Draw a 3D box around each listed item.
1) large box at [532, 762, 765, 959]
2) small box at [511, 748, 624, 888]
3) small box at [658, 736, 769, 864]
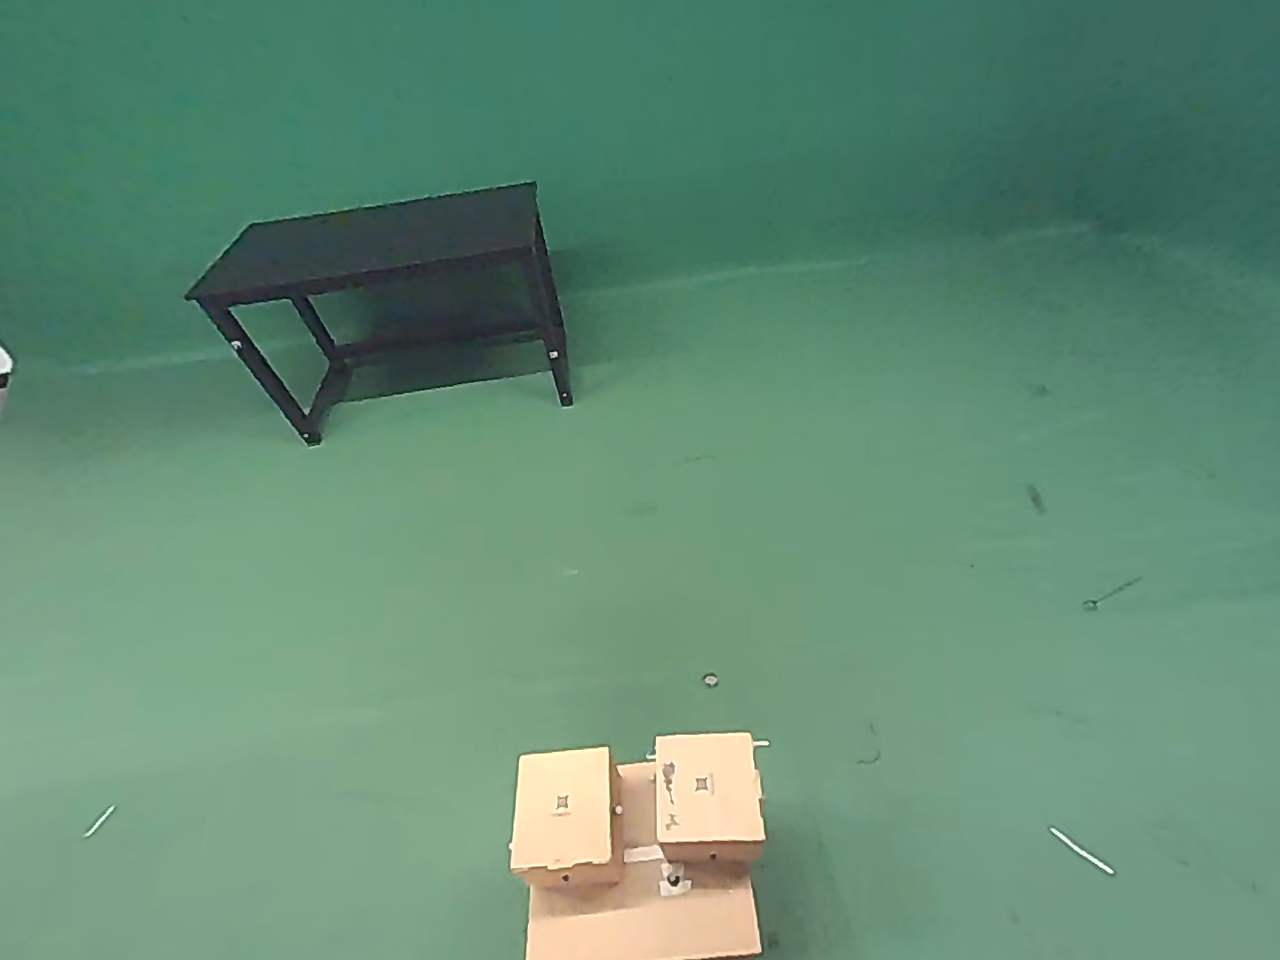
[{"bbox_3d":[0.015,0.795,1.108,0.408,0.320,0.320,-7,47,1],"label":"large box"},{"bbox_3d":[-0.121,0.607,0.970,0.168,0.176,0.179,-7,46,2],"label":"small box"},{"bbox_3d":[0.125,0.570,0.963,0.179,0.176,0.168,-4,46,6],"label":"small box"}]
